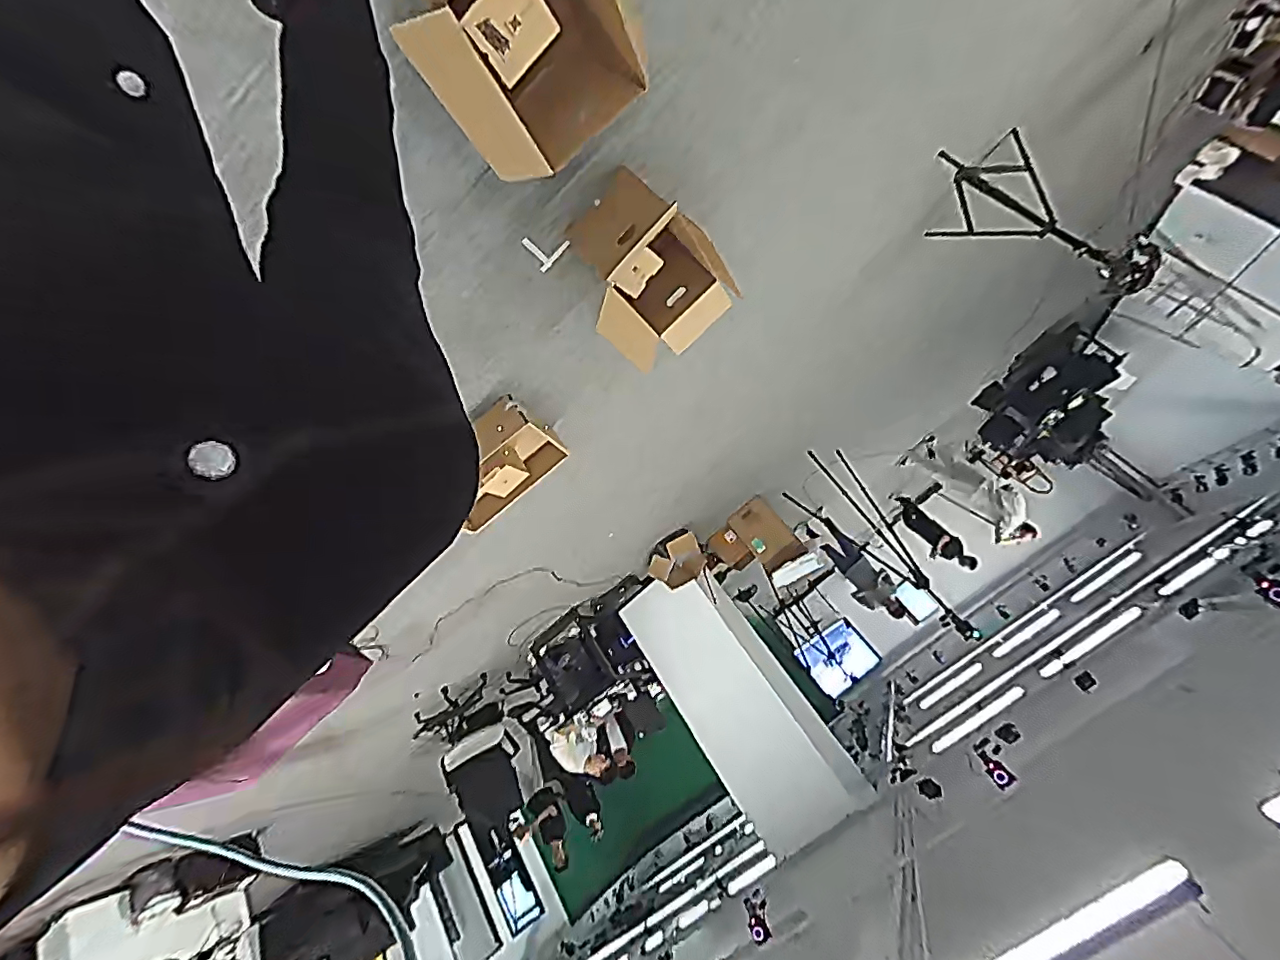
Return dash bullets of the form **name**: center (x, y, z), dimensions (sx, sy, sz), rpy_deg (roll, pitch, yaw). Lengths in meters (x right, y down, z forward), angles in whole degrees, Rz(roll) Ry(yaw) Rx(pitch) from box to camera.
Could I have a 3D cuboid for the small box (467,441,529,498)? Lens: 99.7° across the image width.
- **small box**: center (-0.632, -0.051, 2.389), dimensions (0.168, 0.176, 0.179), rpy_deg (-41, 154, 10)
